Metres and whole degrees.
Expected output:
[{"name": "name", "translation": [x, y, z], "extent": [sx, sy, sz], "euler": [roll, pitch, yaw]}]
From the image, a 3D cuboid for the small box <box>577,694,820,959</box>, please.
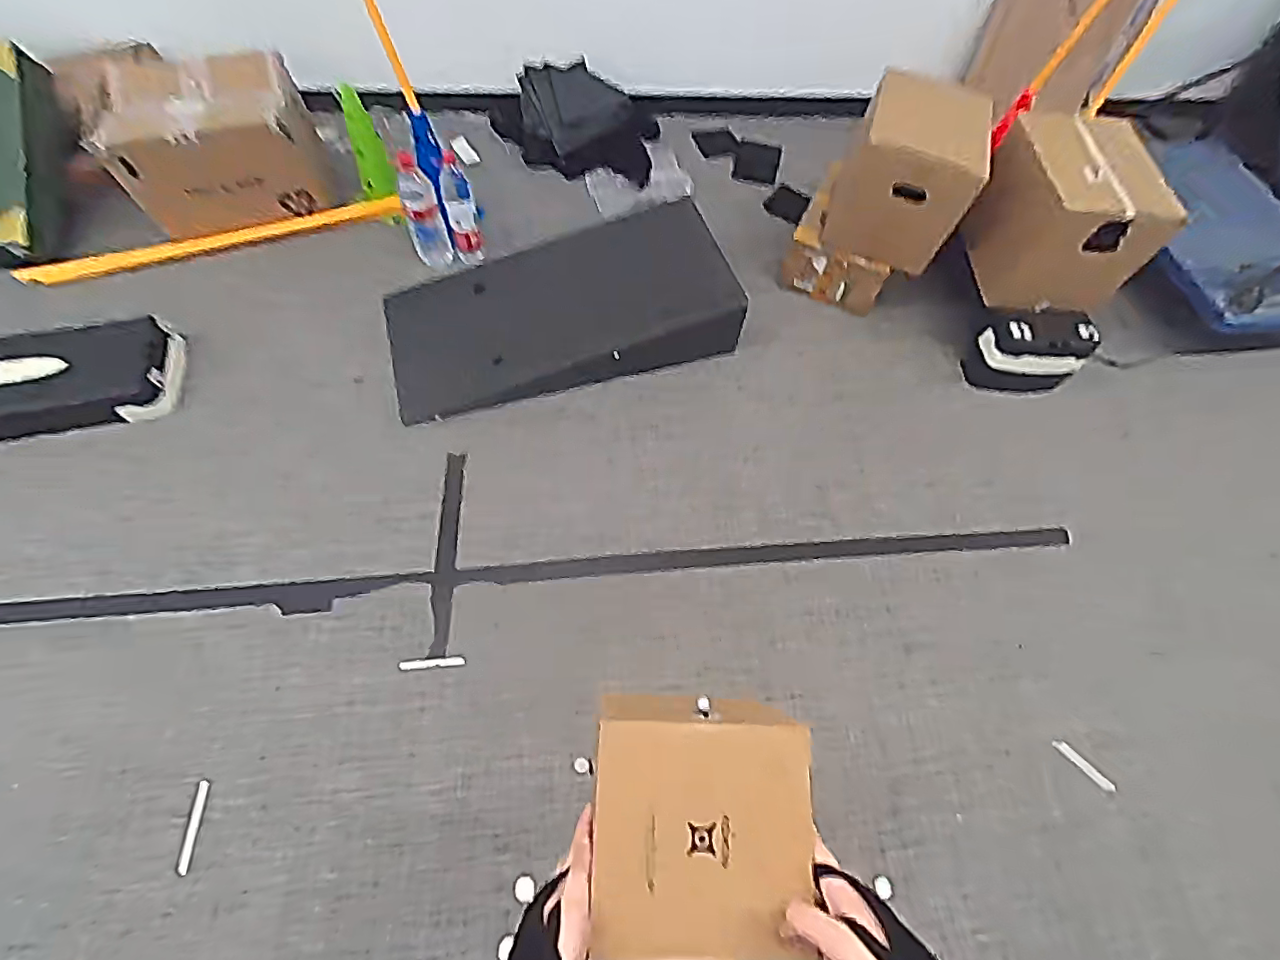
[{"name": "small box", "translation": [0.039, 0.288, 0.475], "extent": [0.179, 0.176, 0.168], "euler": [5, 75, -5]}]
